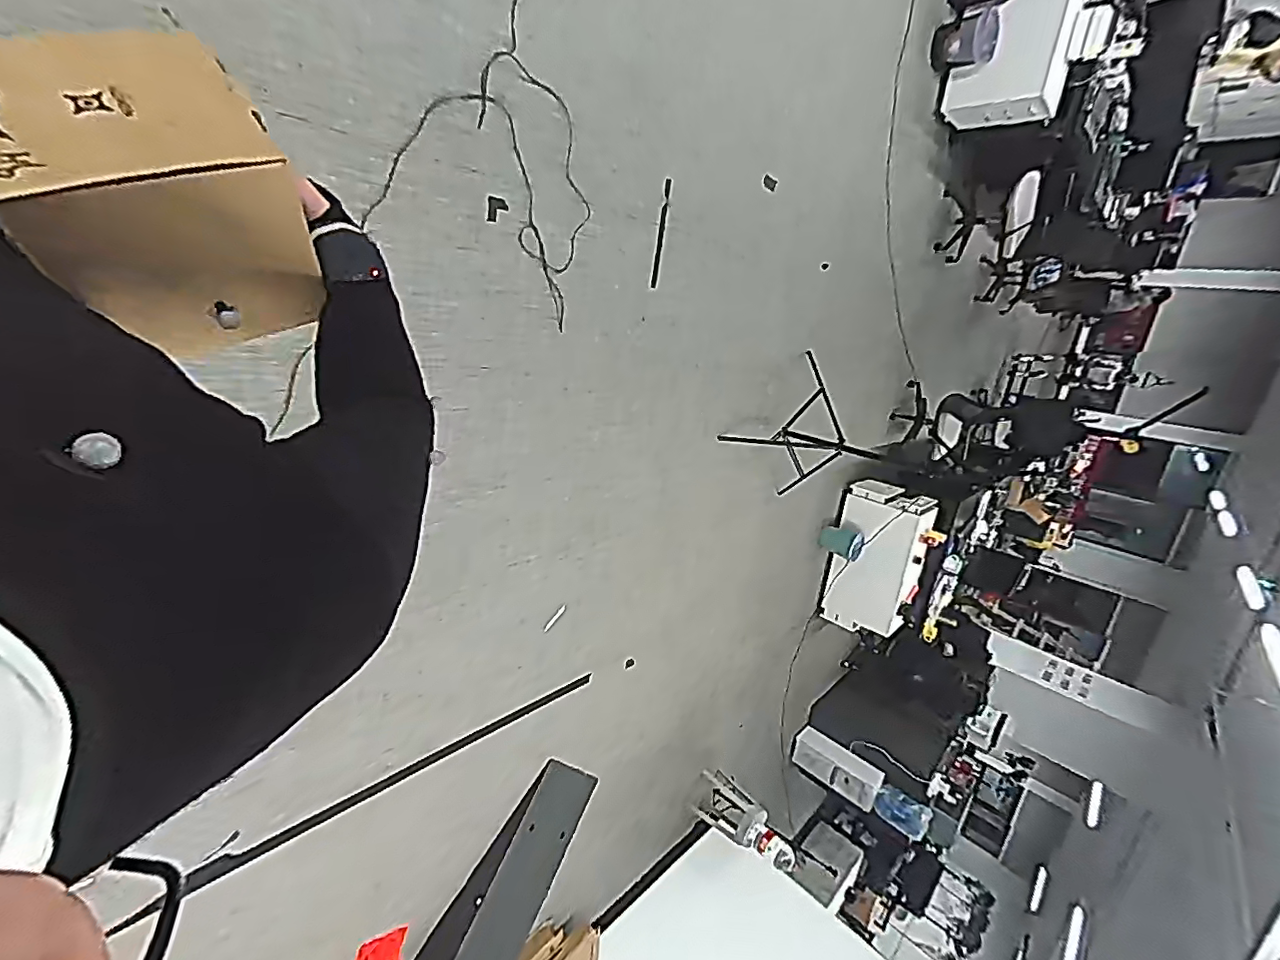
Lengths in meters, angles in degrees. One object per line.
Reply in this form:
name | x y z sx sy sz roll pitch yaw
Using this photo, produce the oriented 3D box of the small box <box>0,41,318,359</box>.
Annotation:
small box | -0.408 -0.237 0.470 0.179 0.168 0.176 -30 164 -29
